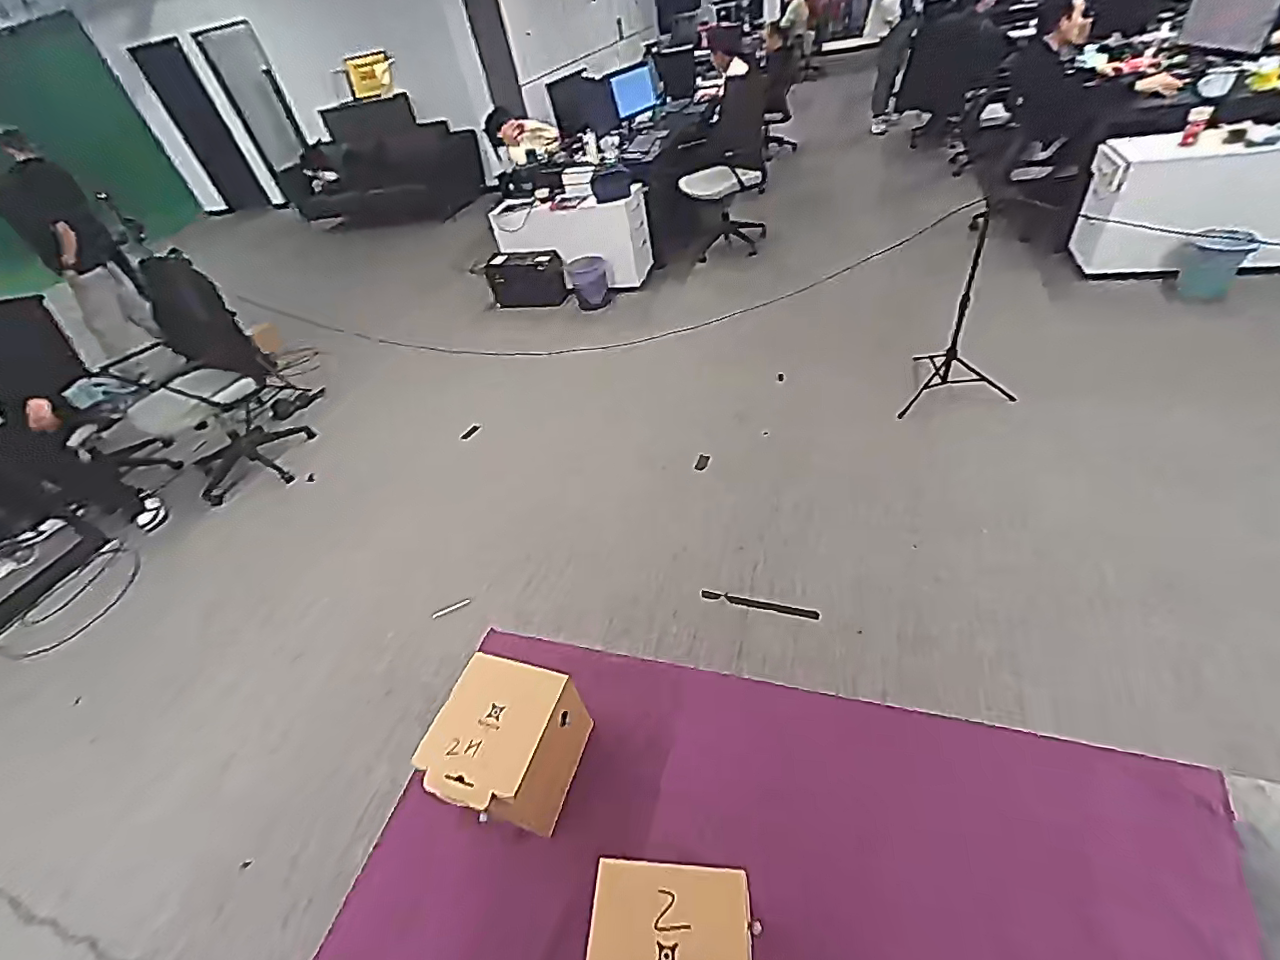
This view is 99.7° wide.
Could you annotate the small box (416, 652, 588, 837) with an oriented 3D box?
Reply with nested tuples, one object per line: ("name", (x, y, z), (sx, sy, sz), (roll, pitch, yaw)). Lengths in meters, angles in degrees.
("small box", (-0.190, 0.394, 0.811), (0.168, 0.176, 0.179), (7, 46, 20))
